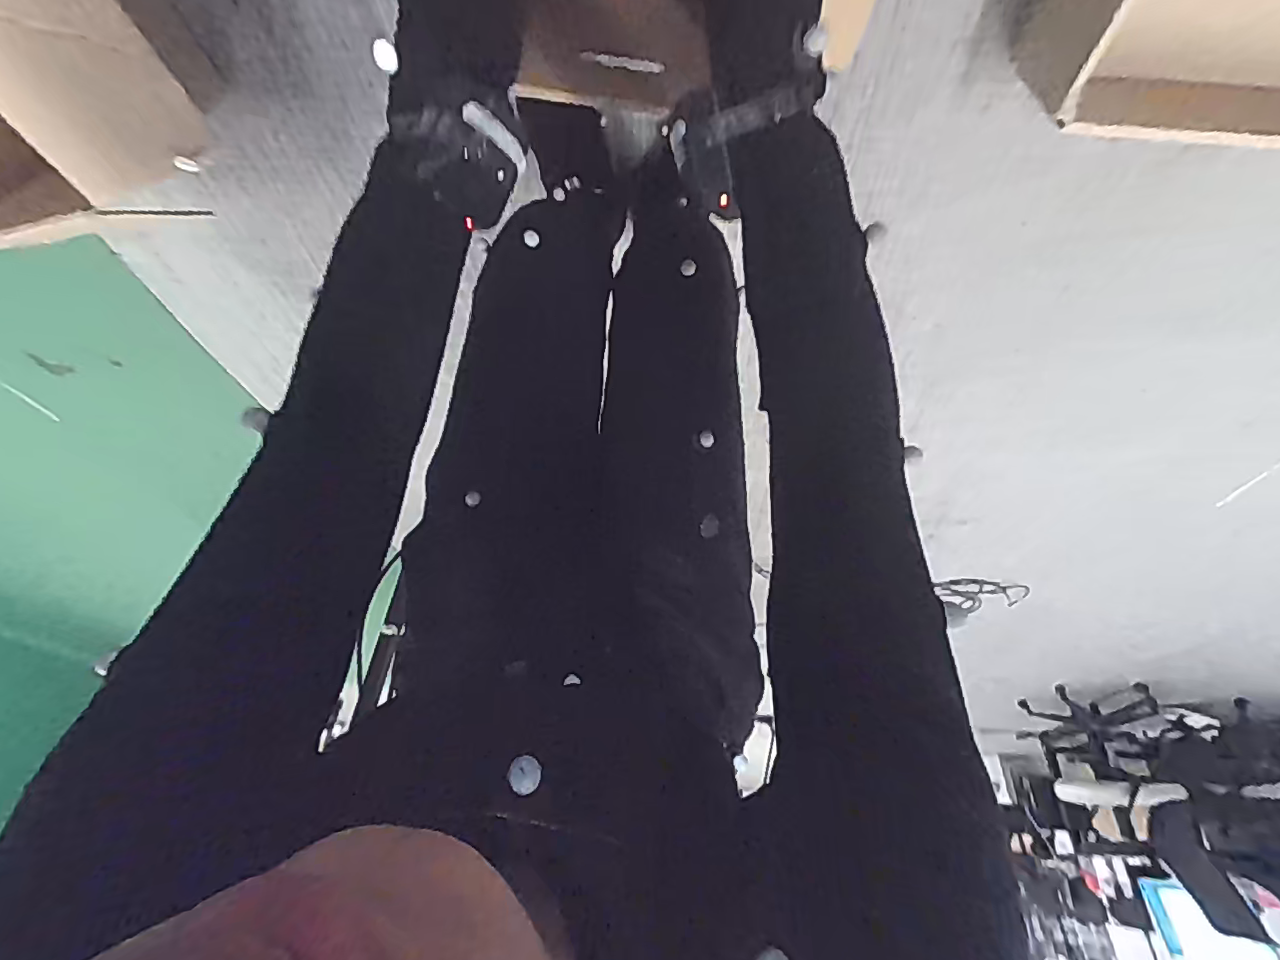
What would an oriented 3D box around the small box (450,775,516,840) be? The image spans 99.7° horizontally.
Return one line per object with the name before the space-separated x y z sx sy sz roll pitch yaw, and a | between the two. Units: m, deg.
small box | -0.520 1.105 1.822 0.168 0.176 0.179 6 146 -2
